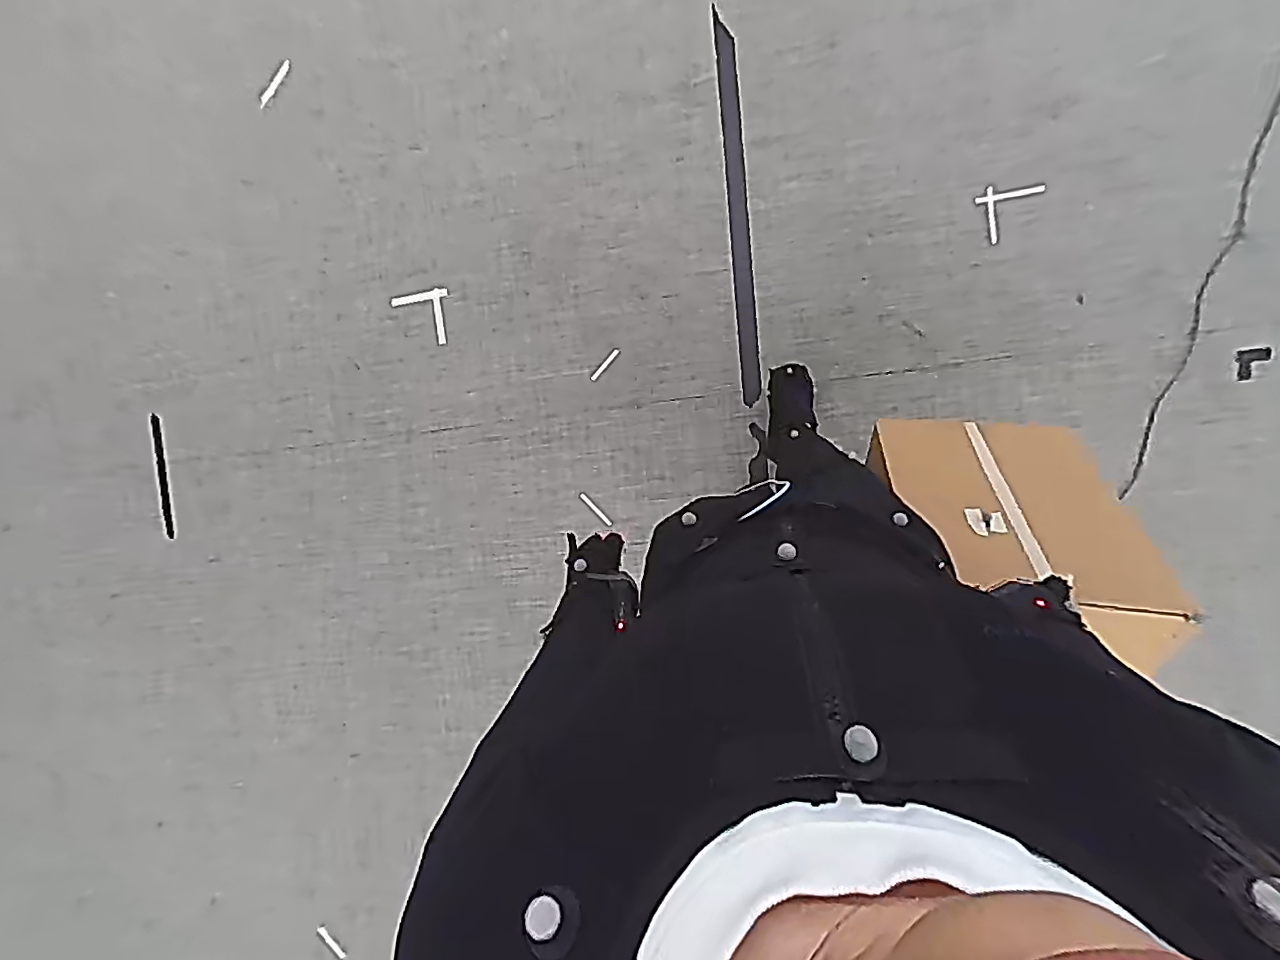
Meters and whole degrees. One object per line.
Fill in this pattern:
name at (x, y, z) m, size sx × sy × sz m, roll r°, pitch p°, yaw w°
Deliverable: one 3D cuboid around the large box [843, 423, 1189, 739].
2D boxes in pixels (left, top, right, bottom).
large box at (0.542, 0.147, 0.904) m, size 0.320 × 0.408 × 0.320 m, roll 3°, pitch 130°, yaw 12°
